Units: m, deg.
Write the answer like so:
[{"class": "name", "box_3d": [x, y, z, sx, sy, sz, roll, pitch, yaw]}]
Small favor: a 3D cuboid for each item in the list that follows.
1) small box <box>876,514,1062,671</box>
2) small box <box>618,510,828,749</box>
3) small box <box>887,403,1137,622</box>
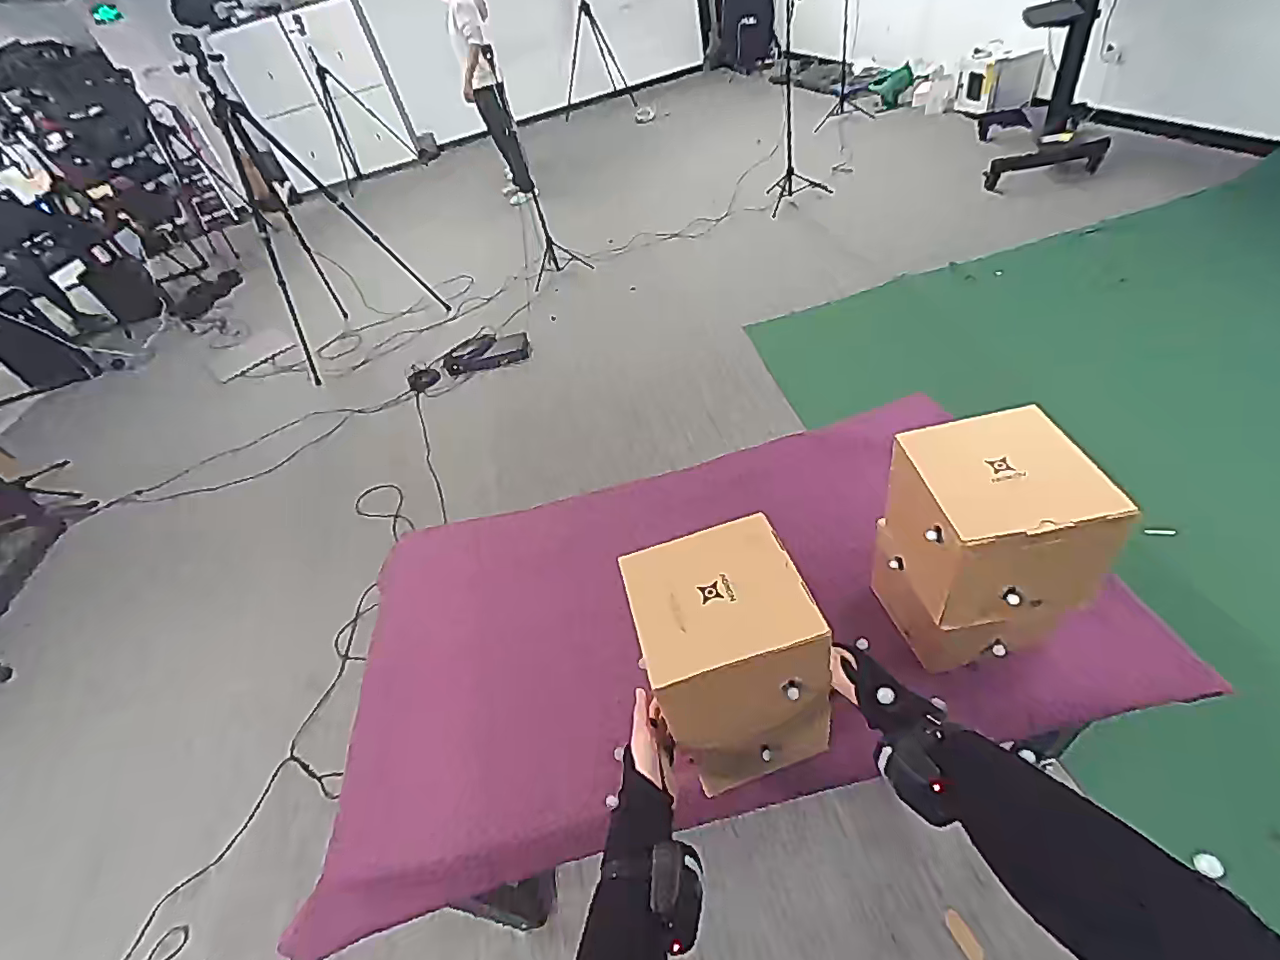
[{"class": "small box", "box_3d": [0.454, 0.138, 0.759, 0.179, 0.176, 0.168, -17, 41, 1]}, {"class": "small box", "box_3d": [0.089, 0.167, 0.601, 0.179, 0.176, 0.168, -18, 41, 0]}, {"class": "small box", "box_3d": [0.407, 0.039, 0.636, 0.168, 0.176, 0.179, -12, 43, 7]}]
